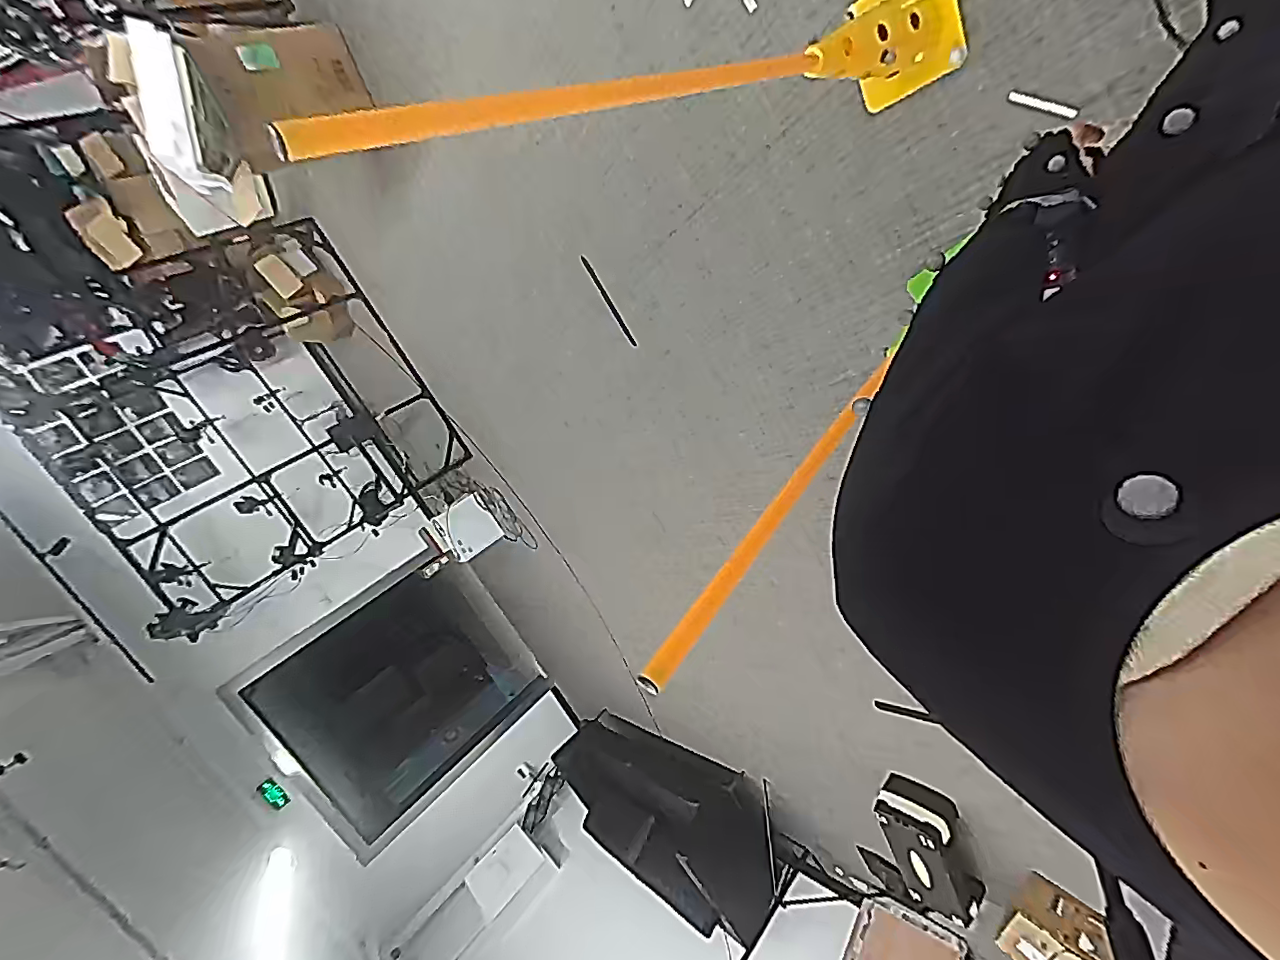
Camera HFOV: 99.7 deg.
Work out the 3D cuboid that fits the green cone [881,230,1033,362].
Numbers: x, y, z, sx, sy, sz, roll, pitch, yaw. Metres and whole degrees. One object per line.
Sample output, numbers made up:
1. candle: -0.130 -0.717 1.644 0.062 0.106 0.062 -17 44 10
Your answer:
1. green cone: 0.605 -0.331 1.113 0.202 0.368 0.200 53 150 1
